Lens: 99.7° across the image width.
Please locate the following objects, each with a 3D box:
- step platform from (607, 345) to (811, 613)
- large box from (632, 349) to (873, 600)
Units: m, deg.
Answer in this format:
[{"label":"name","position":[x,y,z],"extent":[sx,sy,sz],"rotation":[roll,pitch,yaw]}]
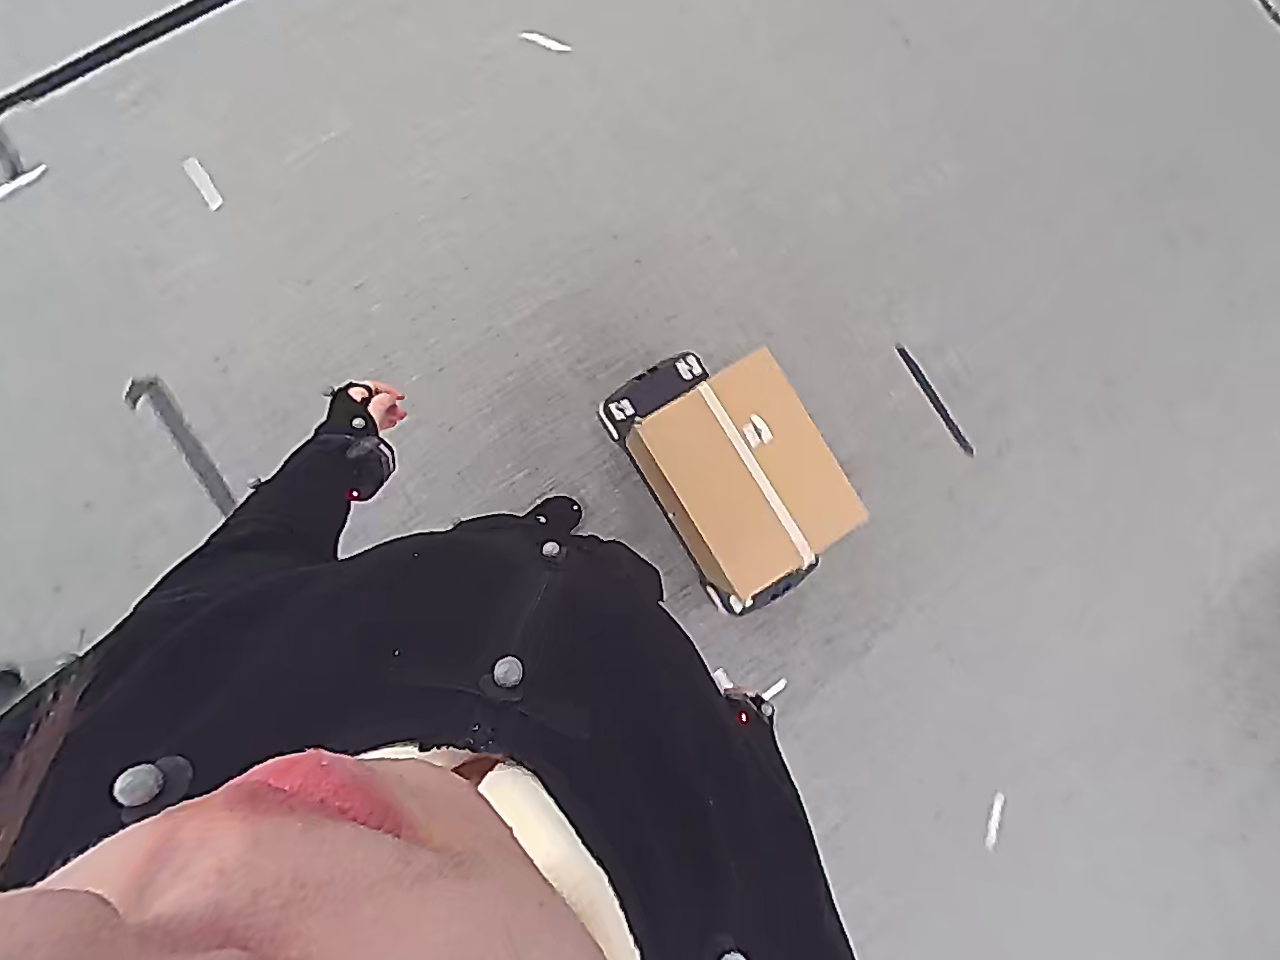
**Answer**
[{"label":"step platform","position":[0.173,-0.001,1.428],"extent":[0.286,0.204,0.684],"rotation":[-26,89,-6]},{"label":"large box","position":[0.217,-0.005,1.192],"extent":[0.320,0.320,0.408],"rotation":[-31,90,-6]}]
